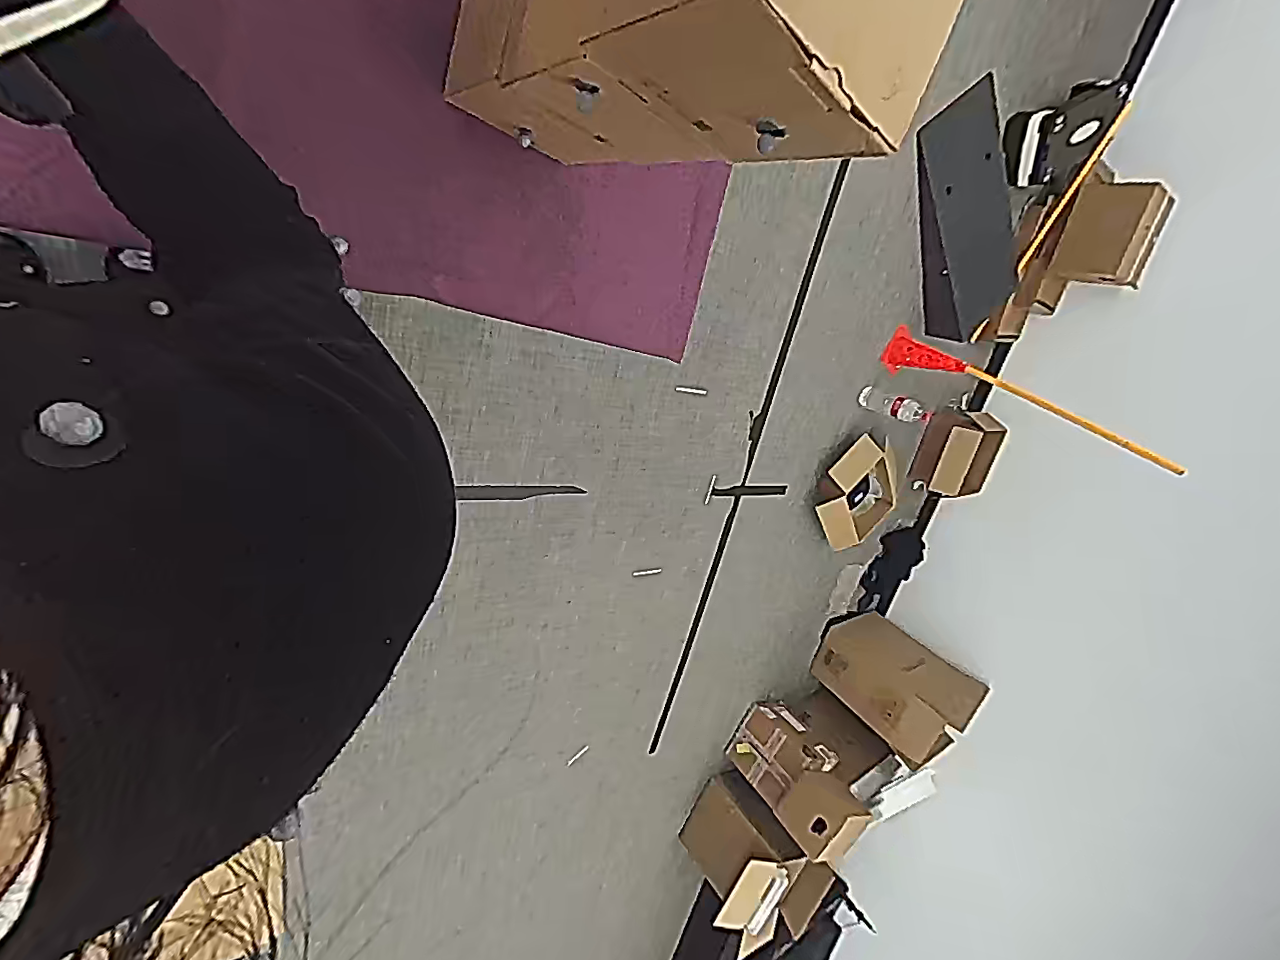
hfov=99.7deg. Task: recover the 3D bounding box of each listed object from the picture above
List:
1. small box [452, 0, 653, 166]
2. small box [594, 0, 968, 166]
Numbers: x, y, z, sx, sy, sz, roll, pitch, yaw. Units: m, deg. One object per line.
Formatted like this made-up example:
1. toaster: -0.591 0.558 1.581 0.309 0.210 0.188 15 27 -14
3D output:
1. small box: -0.087 -0.468 0.586 0.168 0.176 0.179 7 110 -39
2. small box: 0.092 -0.330 0.350 0.168 0.176 0.179 8 108 -42
